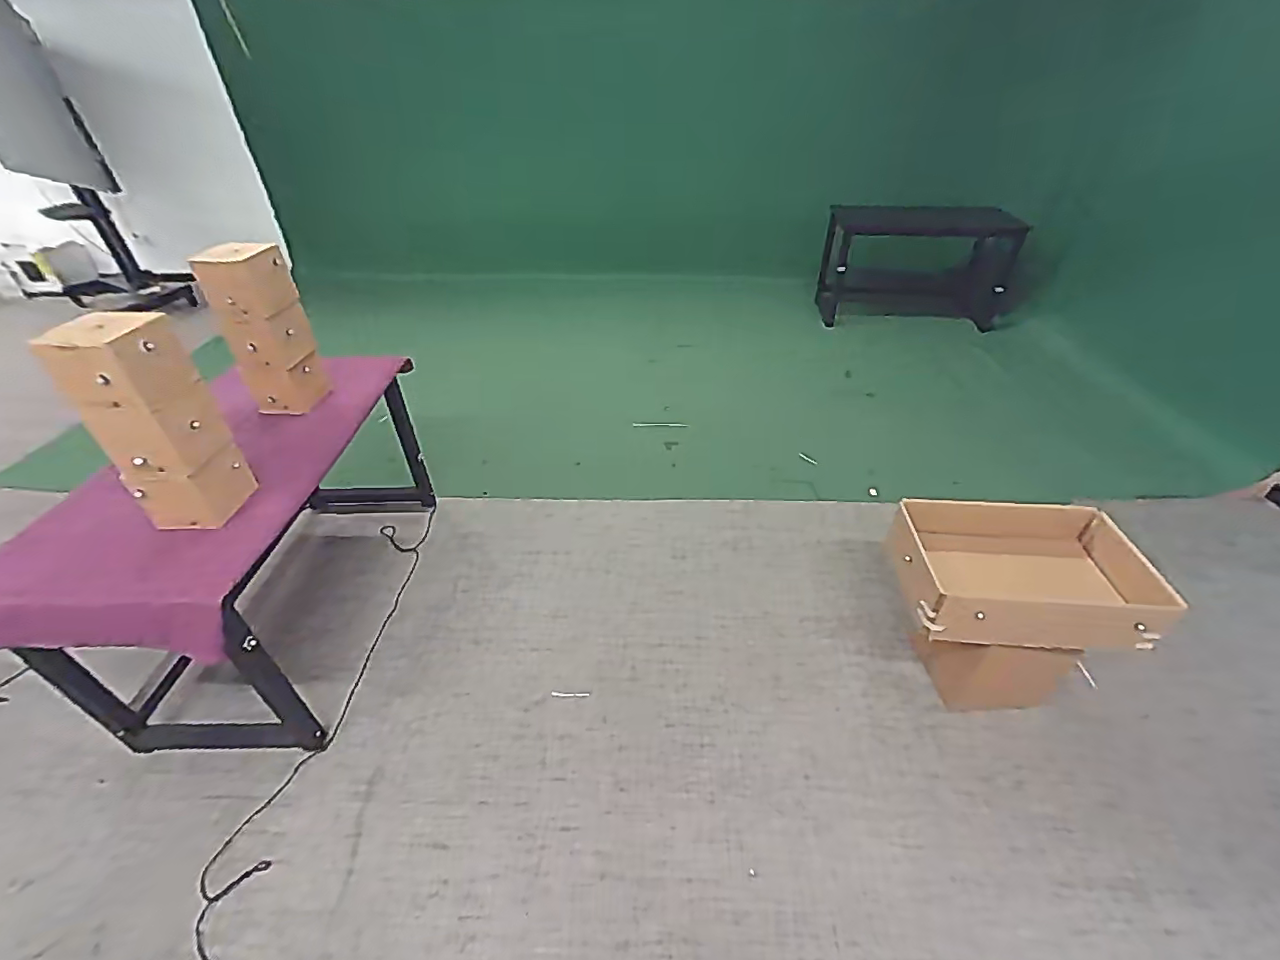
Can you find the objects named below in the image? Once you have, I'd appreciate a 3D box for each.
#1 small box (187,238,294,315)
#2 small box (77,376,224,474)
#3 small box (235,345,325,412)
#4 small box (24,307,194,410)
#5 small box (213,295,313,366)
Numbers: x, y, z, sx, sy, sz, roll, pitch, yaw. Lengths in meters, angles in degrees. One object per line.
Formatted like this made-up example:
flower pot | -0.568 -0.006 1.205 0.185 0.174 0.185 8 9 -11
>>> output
small box | -1.172 -0.605 1.607 0.168 0.176 0.179 3 40 4
small box | -1.132 -0.134 1.275 0.168 0.176 0.179 0 39 0
small box | -1.190 -0.346 1.810 0.168 0.176 0.179 4 40 3
small box | -1.133 -0.265 1.177 0.168 0.176 0.179 2 37 0
small box | -1.177 -0.474 1.707 0.168 0.176 0.179 4 40 3
